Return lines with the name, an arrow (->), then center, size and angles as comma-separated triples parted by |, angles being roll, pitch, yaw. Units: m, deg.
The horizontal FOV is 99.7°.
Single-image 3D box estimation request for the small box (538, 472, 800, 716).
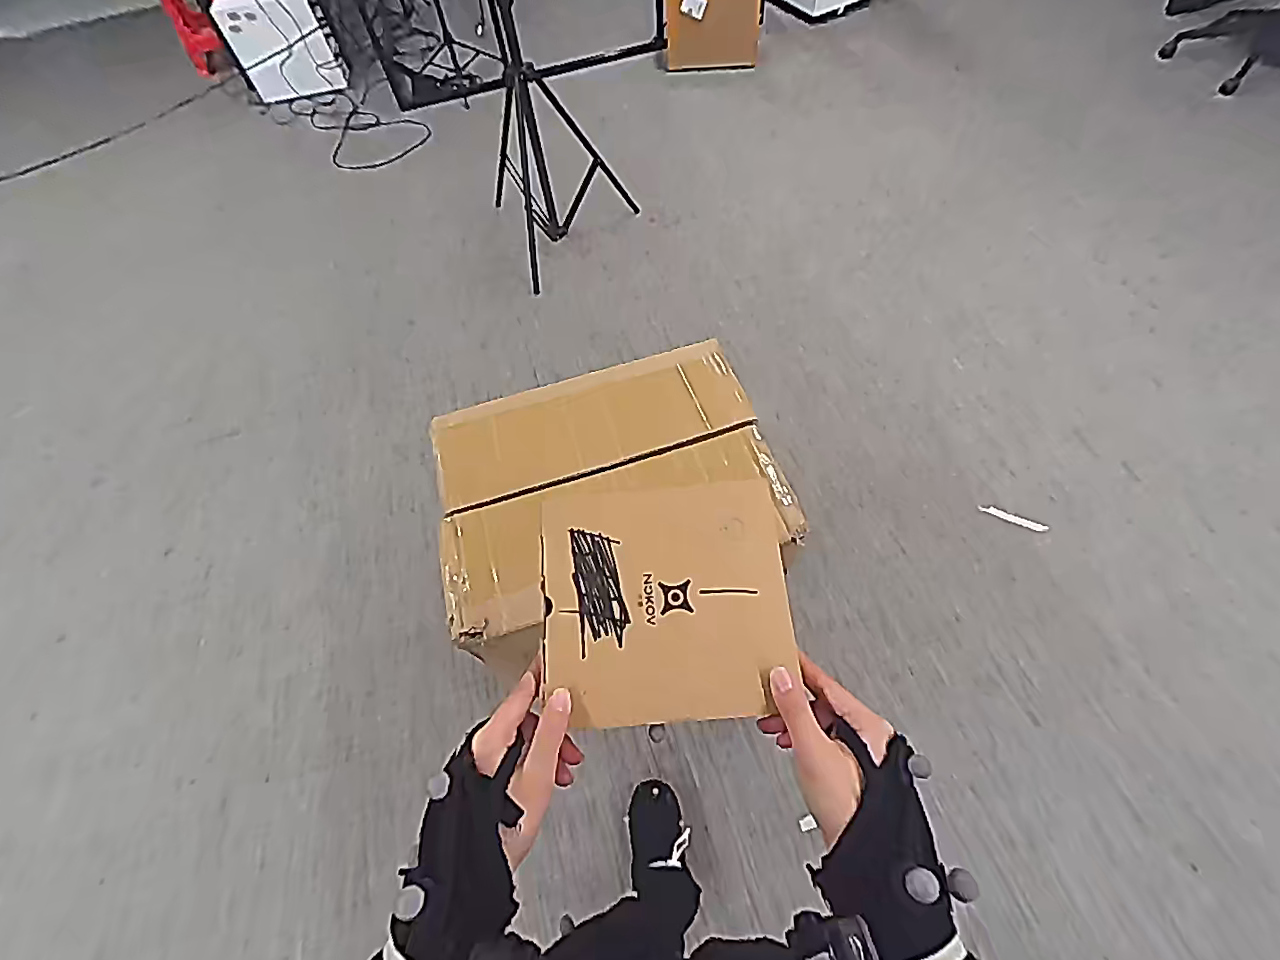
small box -> 0.018, 0.105, 0.459 | 0.179, 0.176, 0.168 | -5, 69, 0
